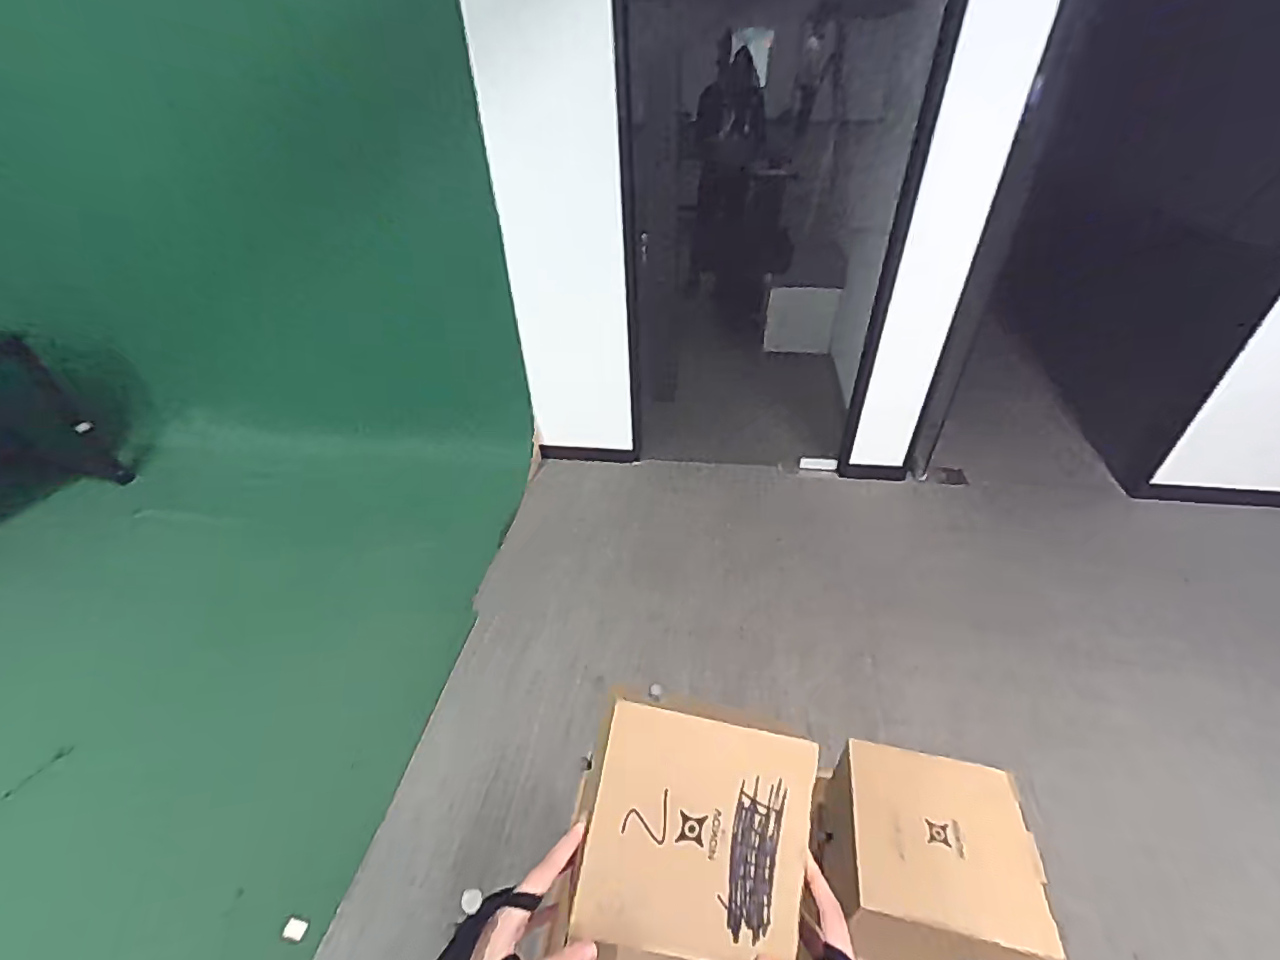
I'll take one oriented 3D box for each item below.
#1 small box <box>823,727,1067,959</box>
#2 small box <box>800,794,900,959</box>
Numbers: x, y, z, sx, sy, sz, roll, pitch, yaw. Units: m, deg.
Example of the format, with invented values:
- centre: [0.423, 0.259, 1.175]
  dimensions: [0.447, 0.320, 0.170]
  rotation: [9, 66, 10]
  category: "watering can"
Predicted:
- centre: [0.307, 0.406, 0.591]
  dimensions: [0.179, 0.176, 0.168]
  rotation: [7, 39, 12]
  category: "small box"
- centre: [0.304, 0.538, 0.687]
  dimensions: [0.179, 0.176, 0.168]
  rotation: [8, 40, 12]
  category: "small box"
